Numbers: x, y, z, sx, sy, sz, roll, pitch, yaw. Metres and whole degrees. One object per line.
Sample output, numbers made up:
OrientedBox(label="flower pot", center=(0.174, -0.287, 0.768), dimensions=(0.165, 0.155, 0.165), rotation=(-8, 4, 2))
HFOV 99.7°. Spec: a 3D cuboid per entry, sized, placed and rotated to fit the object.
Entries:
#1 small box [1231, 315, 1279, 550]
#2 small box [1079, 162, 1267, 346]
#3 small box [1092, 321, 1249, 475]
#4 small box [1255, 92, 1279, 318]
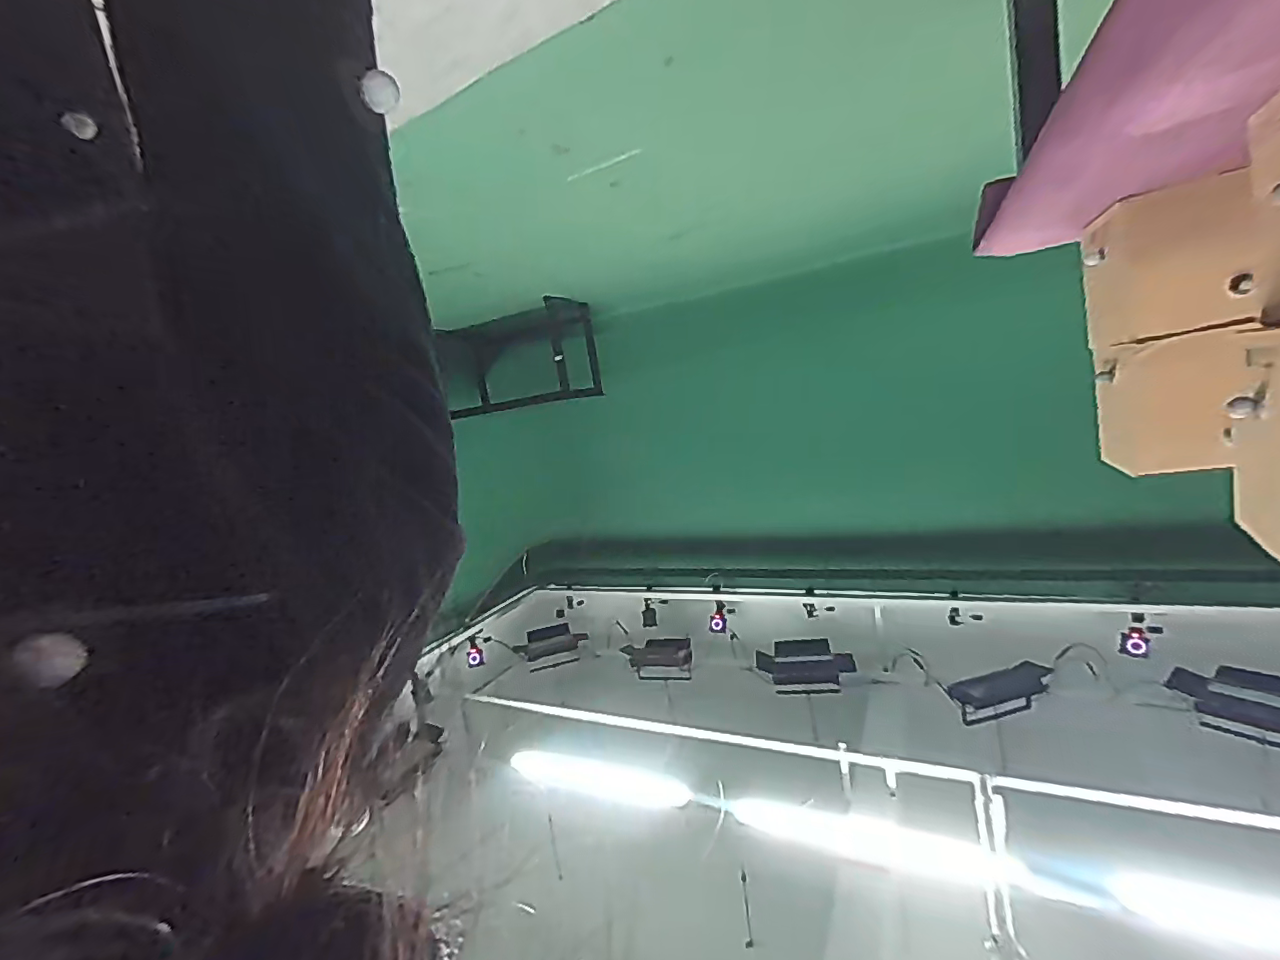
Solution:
OrientedBox(label="small box", center=(0.531, -0.039, 0.347), dimensions=(0.179, 0.176, 0.168), rotation=(-5, -172, 37))
OrientedBox(label="small box", center=(0.677, -0.270, 0.667), dimensions=(0.179, 0.176, 0.168), rotation=(-6, -173, 27))
OrientedBox(label="small box", center=(0.704, -0.110, 0.679), dimensions=(0.179, 0.176, 0.168), rotation=(-7, -174, 29))
OrientedBox(label="small box", center=(0.527, -0.204, 0.322), dimensions=(0.179, 0.176, 0.168), rotation=(-6, -172, 31))
